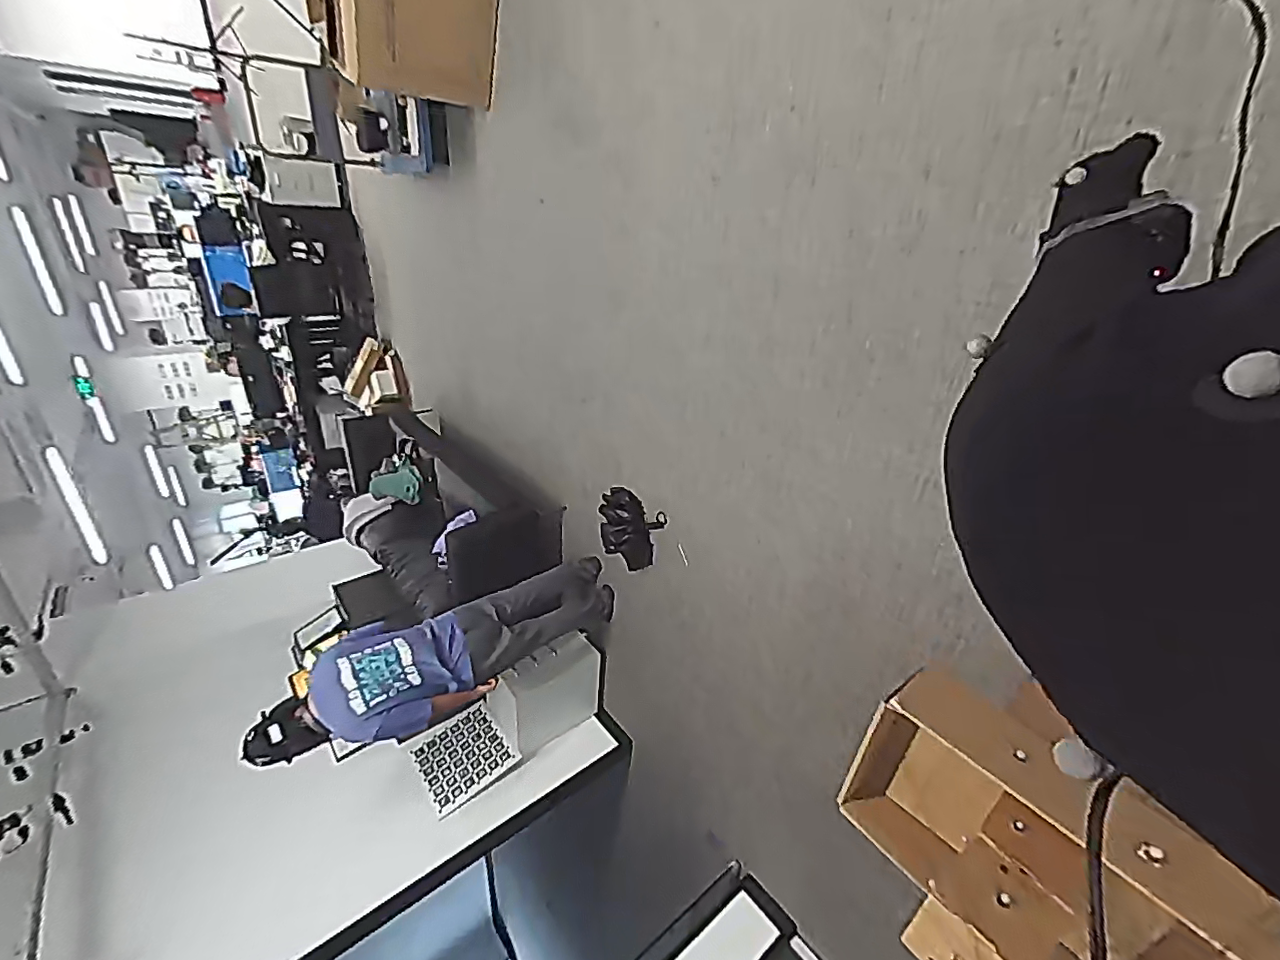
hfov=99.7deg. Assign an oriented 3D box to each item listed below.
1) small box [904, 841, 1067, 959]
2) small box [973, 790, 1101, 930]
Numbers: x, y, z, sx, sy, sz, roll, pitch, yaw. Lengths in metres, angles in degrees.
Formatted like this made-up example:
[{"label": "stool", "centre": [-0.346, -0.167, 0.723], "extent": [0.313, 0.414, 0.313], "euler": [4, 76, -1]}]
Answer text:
[{"label": "small box", "centre": [0.609, 0.791, 0.952], "extent": [0.168, 0.176, 0.179], "euler": [35, 130, 43]}, {"label": "small box", "centre": [0.740, 0.746, 1.039], "extent": [0.168, 0.176, 0.179], "euler": [35, 132, 43]}]
